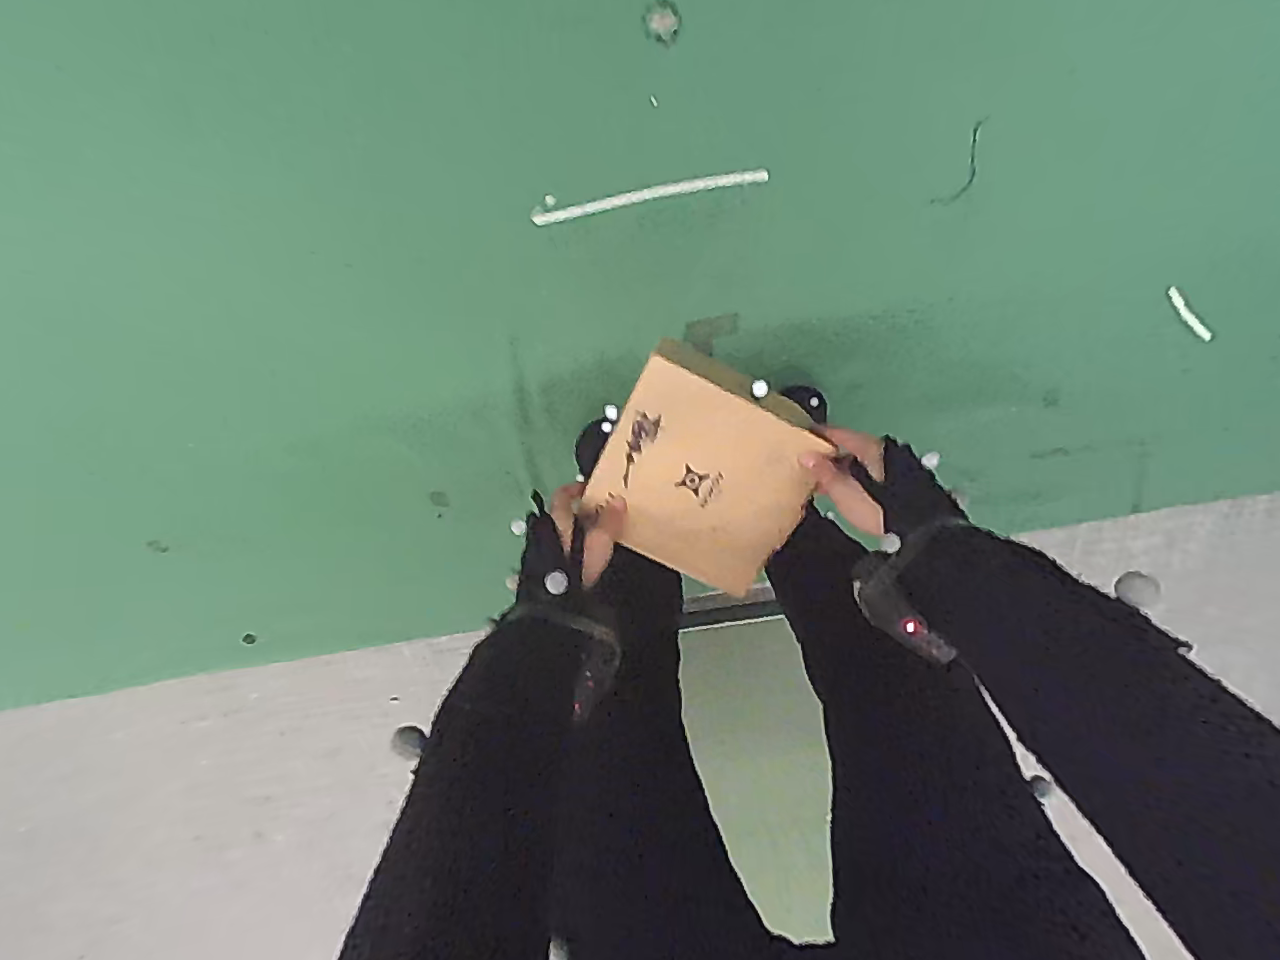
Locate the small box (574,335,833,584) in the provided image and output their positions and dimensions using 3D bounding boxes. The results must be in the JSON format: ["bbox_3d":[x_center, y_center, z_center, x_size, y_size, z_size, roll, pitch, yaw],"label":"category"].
[{"bbox_3d":[0.057,-0.033,0.547,0.179,0.176,0.168,27,110,-6],"label":"small box"}]
